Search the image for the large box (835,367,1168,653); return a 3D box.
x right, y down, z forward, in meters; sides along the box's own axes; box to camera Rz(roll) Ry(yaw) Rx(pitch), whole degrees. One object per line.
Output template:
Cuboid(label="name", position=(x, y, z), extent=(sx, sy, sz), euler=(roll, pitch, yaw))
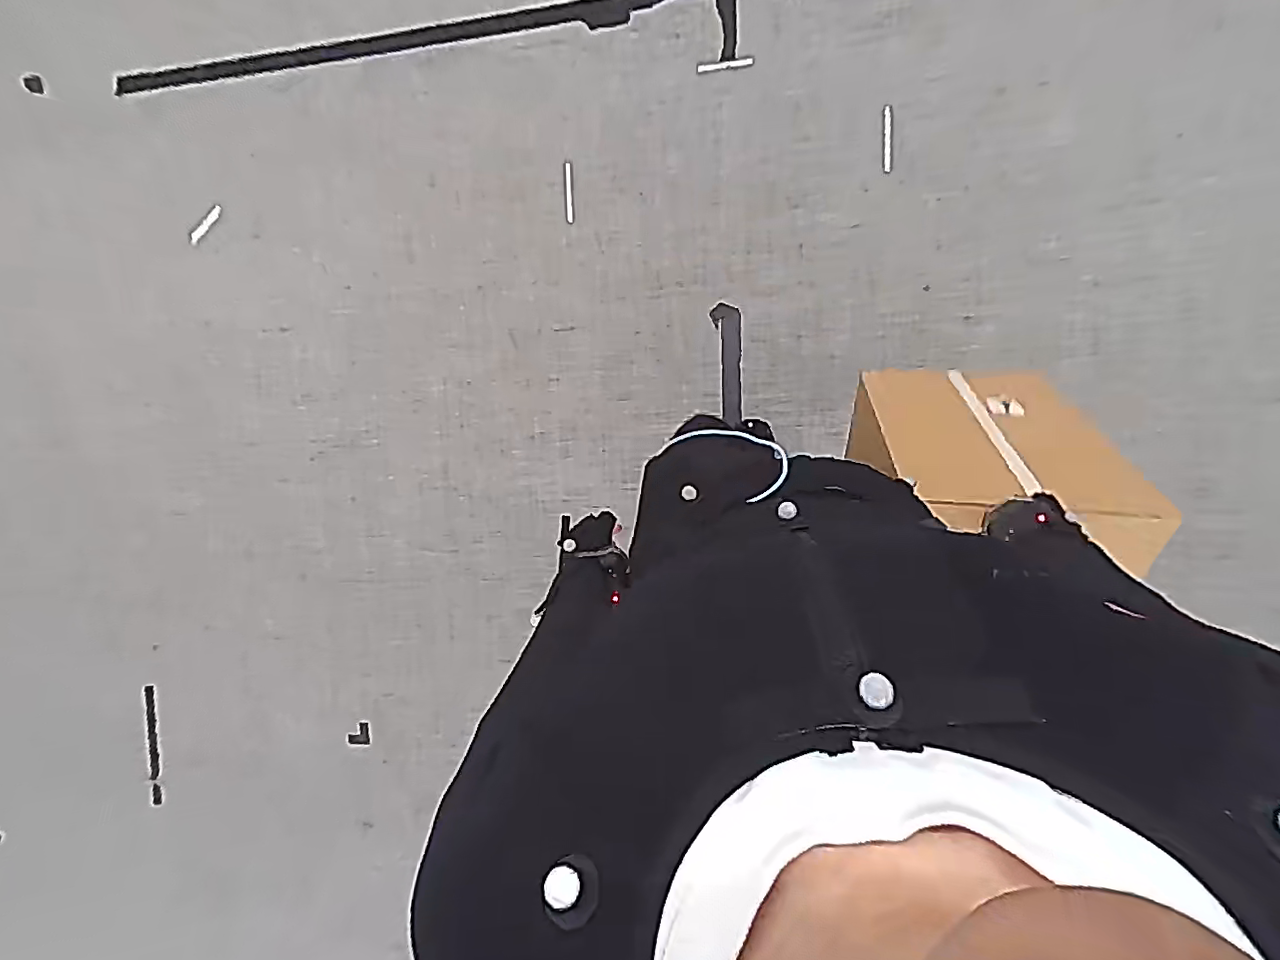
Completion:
Cuboid(label="large box", position=(0.540, 0.035, 0.930), extent=(0.320, 0.408, 0.320), euler=(3, 126, 8))
